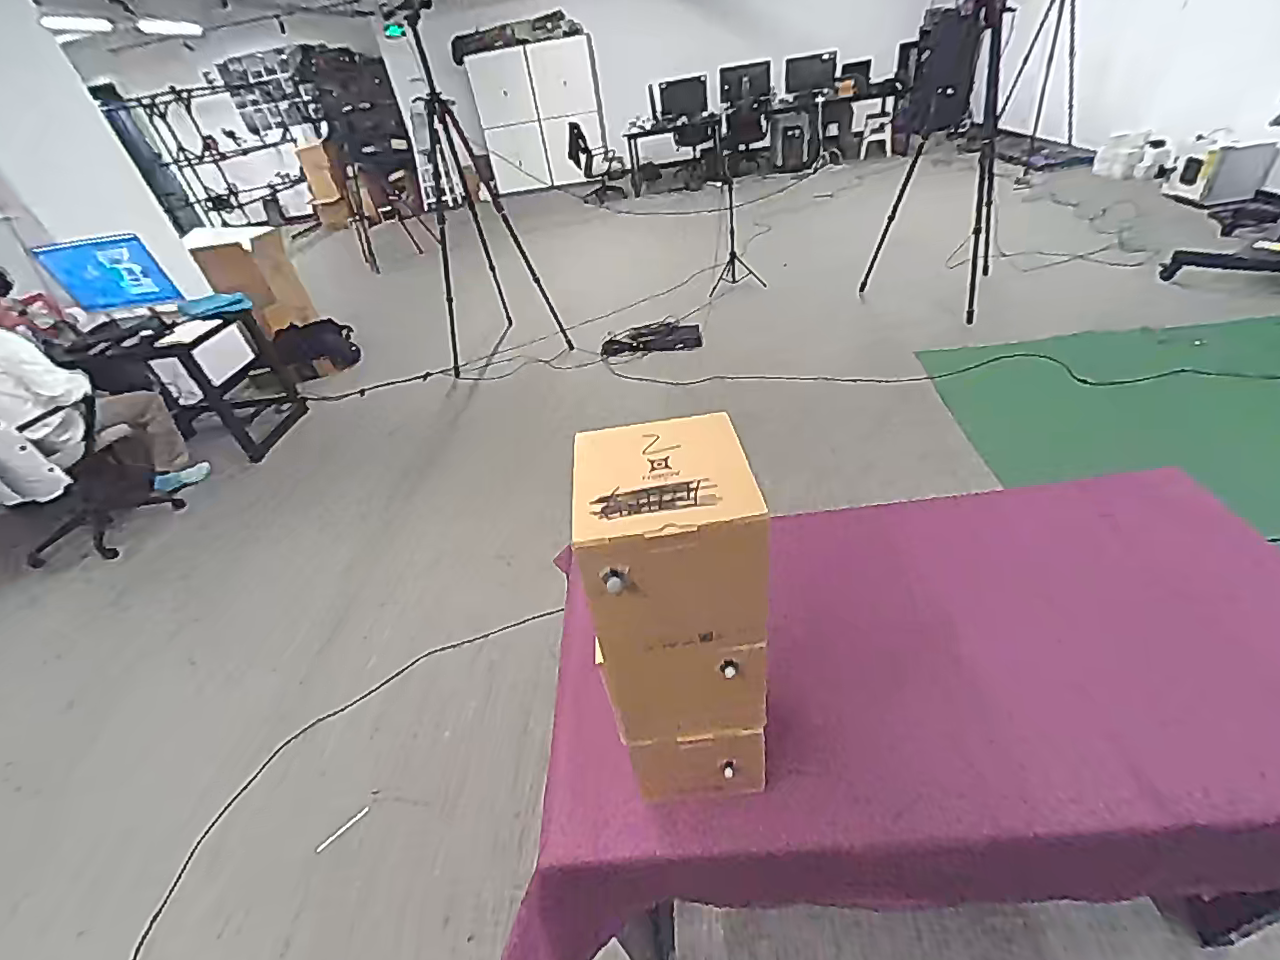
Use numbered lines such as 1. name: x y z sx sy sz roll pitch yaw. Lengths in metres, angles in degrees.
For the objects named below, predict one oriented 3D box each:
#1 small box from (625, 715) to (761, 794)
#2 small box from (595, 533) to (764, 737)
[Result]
1. small box: 0.072 0.315 0.753 0.168 0.176 0.179 -7 37 3
2. small box: 0.046 0.189 0.655 0.179 0.176 0.168 -8 38 1
